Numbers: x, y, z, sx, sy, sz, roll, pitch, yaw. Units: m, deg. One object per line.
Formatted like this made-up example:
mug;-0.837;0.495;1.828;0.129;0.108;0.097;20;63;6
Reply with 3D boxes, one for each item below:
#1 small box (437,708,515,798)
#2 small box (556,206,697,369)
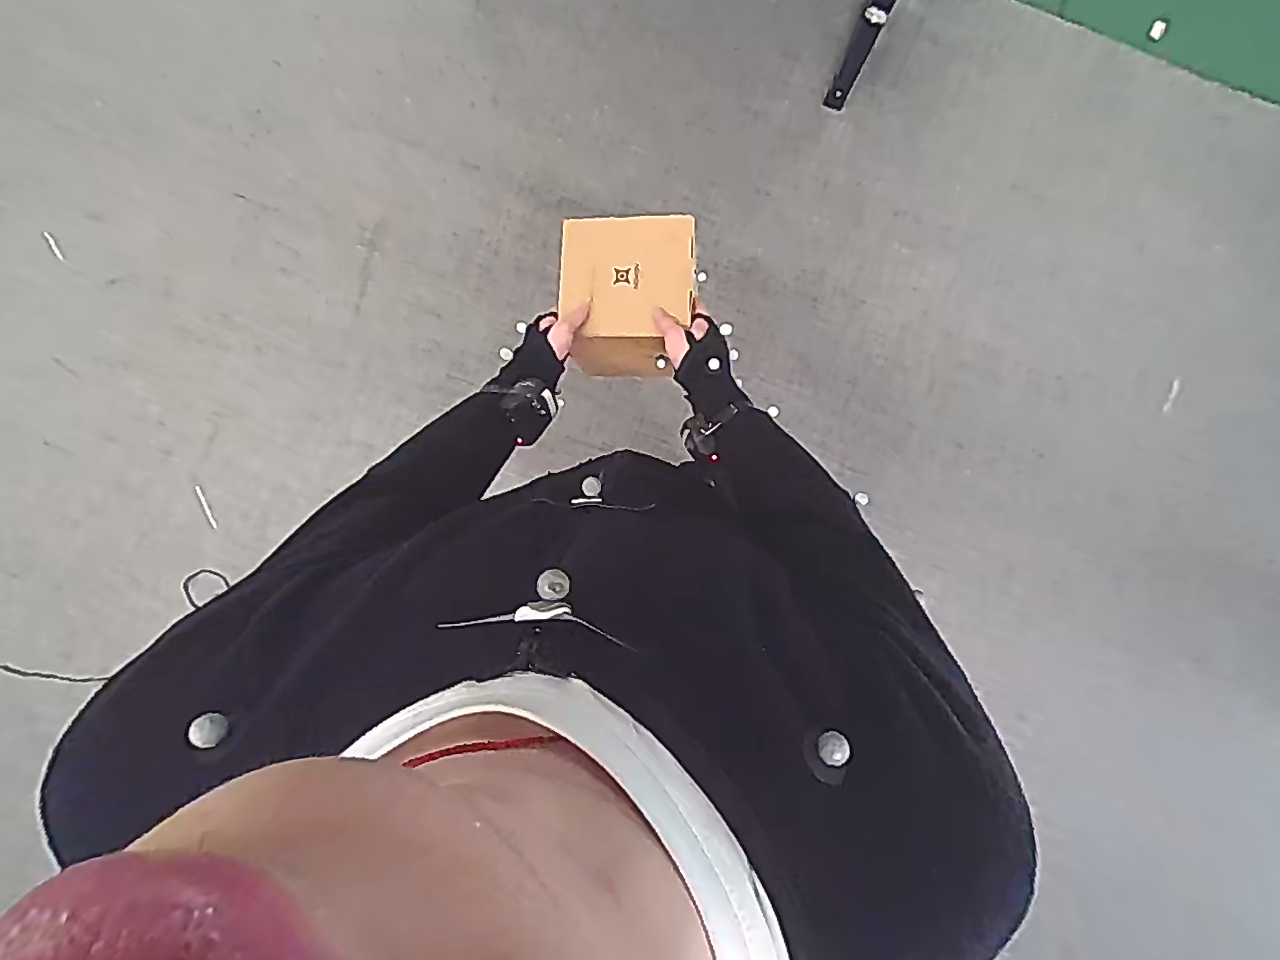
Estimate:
small box;-0.445;0.745;1.492;0.179;0.176;0.168;0;93;-1
small box;-0.010;-0.265;0.778;0.179;0.176;0.168;1;82;9
